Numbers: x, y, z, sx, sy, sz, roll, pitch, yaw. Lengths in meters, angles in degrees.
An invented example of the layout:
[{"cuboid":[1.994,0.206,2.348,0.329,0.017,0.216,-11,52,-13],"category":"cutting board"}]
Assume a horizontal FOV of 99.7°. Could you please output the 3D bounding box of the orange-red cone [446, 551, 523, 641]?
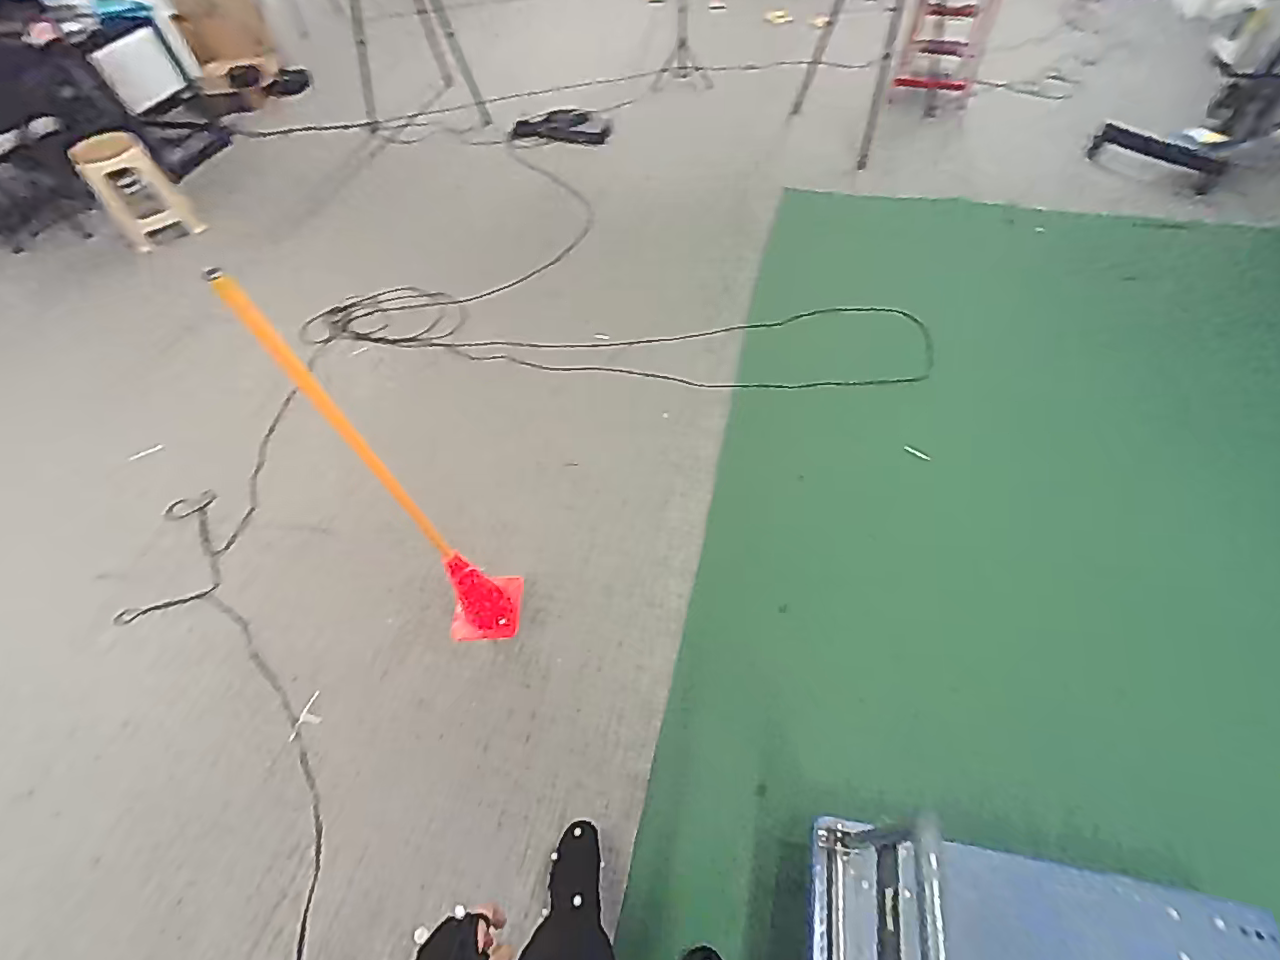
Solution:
[{"cuboid":[-0.478,0.301,1.540,0.198,0.360,0.199,-2,54,2],"category":"orange-red cone"}]
